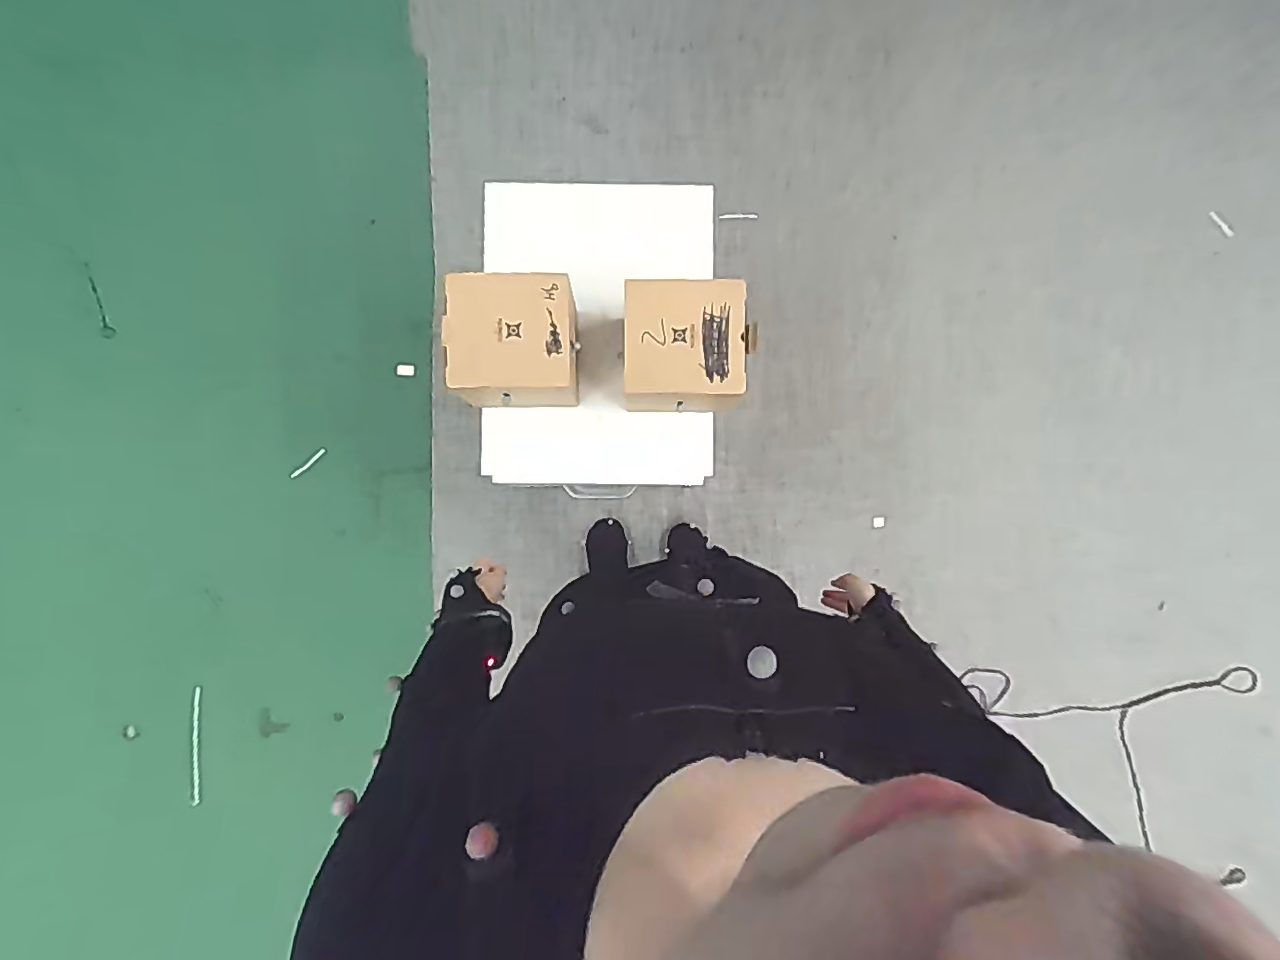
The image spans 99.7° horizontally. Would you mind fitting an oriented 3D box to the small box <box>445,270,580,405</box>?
[{"bbox_3d":[-0.188,-0.211,0.839,0.179,0.176,0.168,-1,89,-2],"label":"small box"}]
